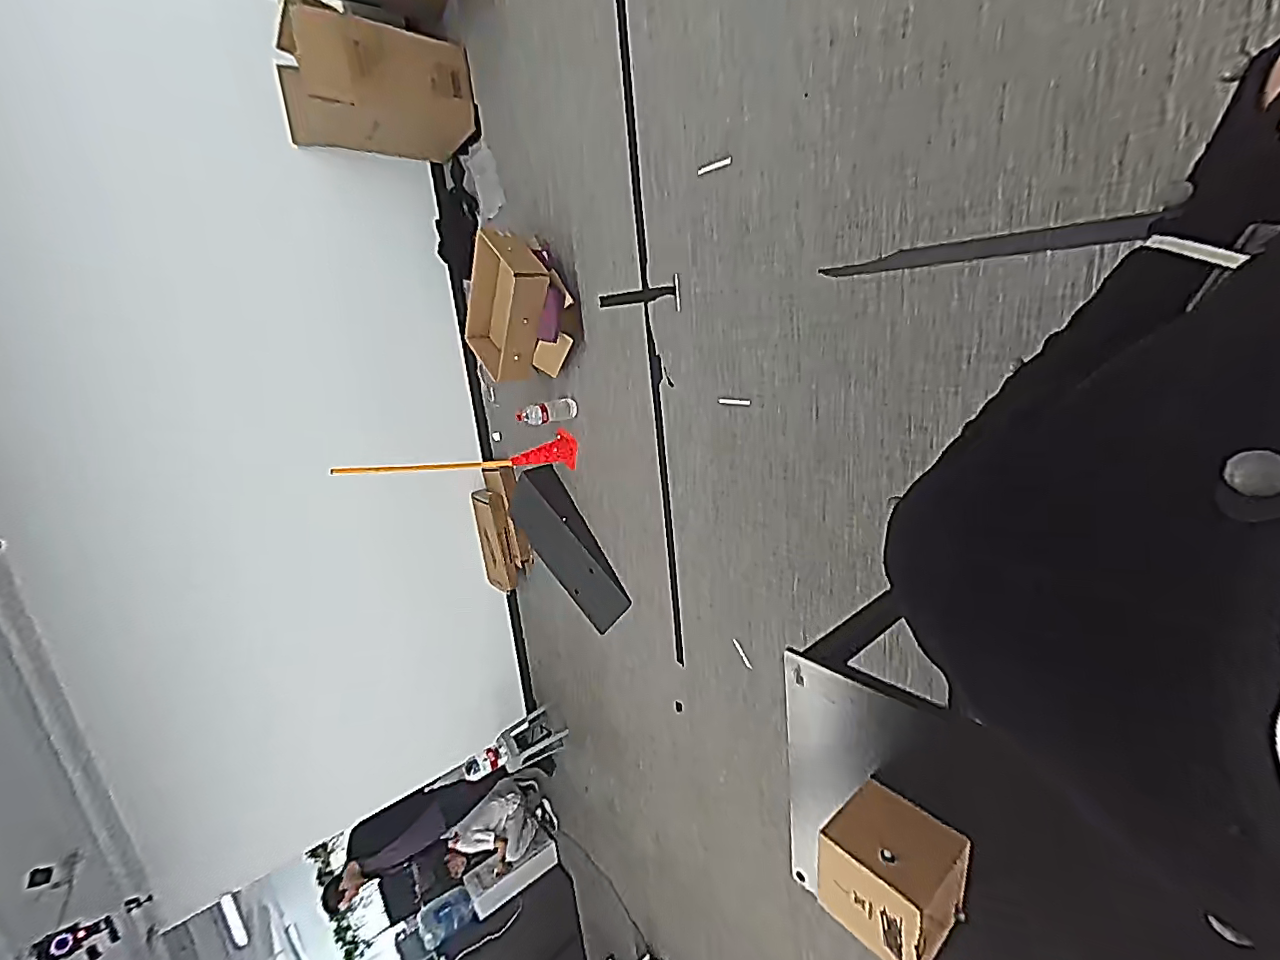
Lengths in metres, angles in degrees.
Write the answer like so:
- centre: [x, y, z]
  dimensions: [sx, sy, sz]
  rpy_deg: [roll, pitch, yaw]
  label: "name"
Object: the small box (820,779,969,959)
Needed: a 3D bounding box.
- centre: [0.430, 0.657, 0.920]
  dimensions: [0.179, 0.176, 0.168]
  rpy_deg: [17, 117, 50]
  label: "small box"
